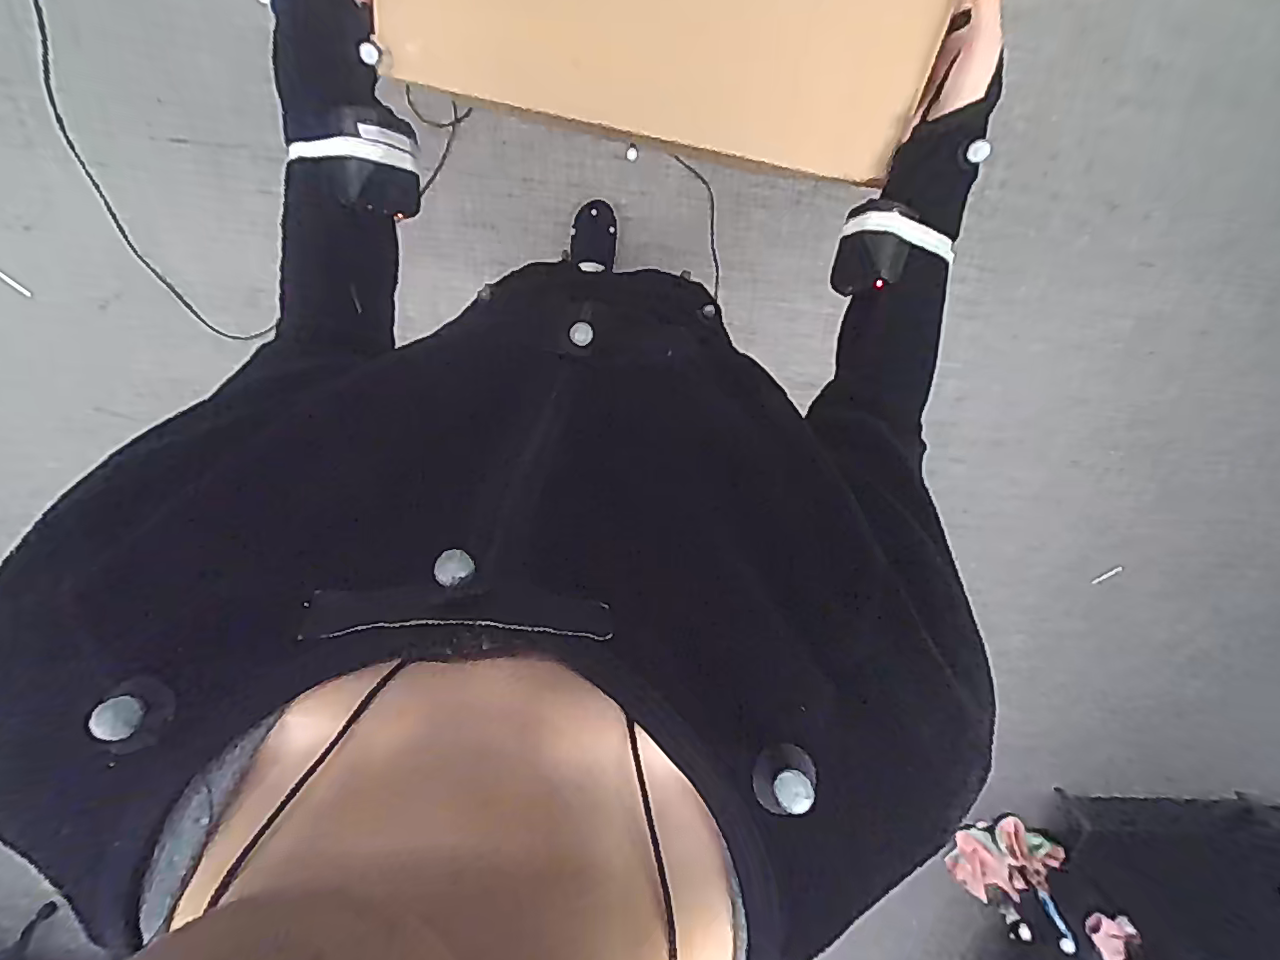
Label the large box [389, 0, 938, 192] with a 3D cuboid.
[{"bbox_3d":[0.024,-0.476,0.490,0.408,0.320,0.320,7,119,-10],"label":"large box"}]
